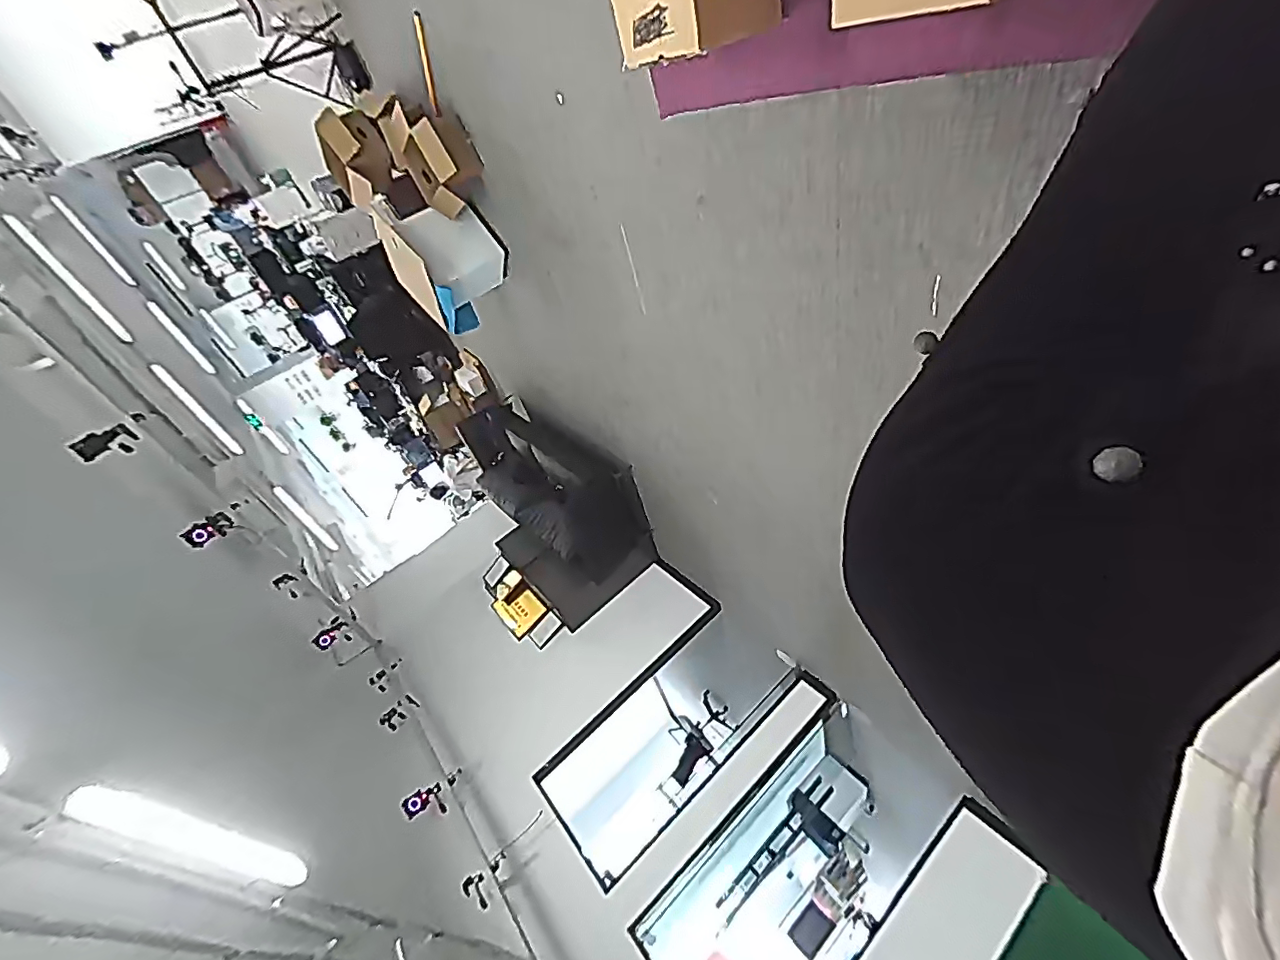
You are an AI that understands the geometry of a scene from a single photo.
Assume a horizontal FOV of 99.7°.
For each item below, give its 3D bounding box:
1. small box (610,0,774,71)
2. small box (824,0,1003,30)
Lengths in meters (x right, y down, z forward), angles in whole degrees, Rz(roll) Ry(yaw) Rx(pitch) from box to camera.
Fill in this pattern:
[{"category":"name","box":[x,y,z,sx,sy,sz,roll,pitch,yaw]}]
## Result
[{"category":"small box","box":[0.068,-0.701,0.745,0.168,0.176,0.179,32,150,43]},{"category":"small box","box":[0.294,-0.555,0.501,0.168,0.176,0.179,35,153,41]}]
